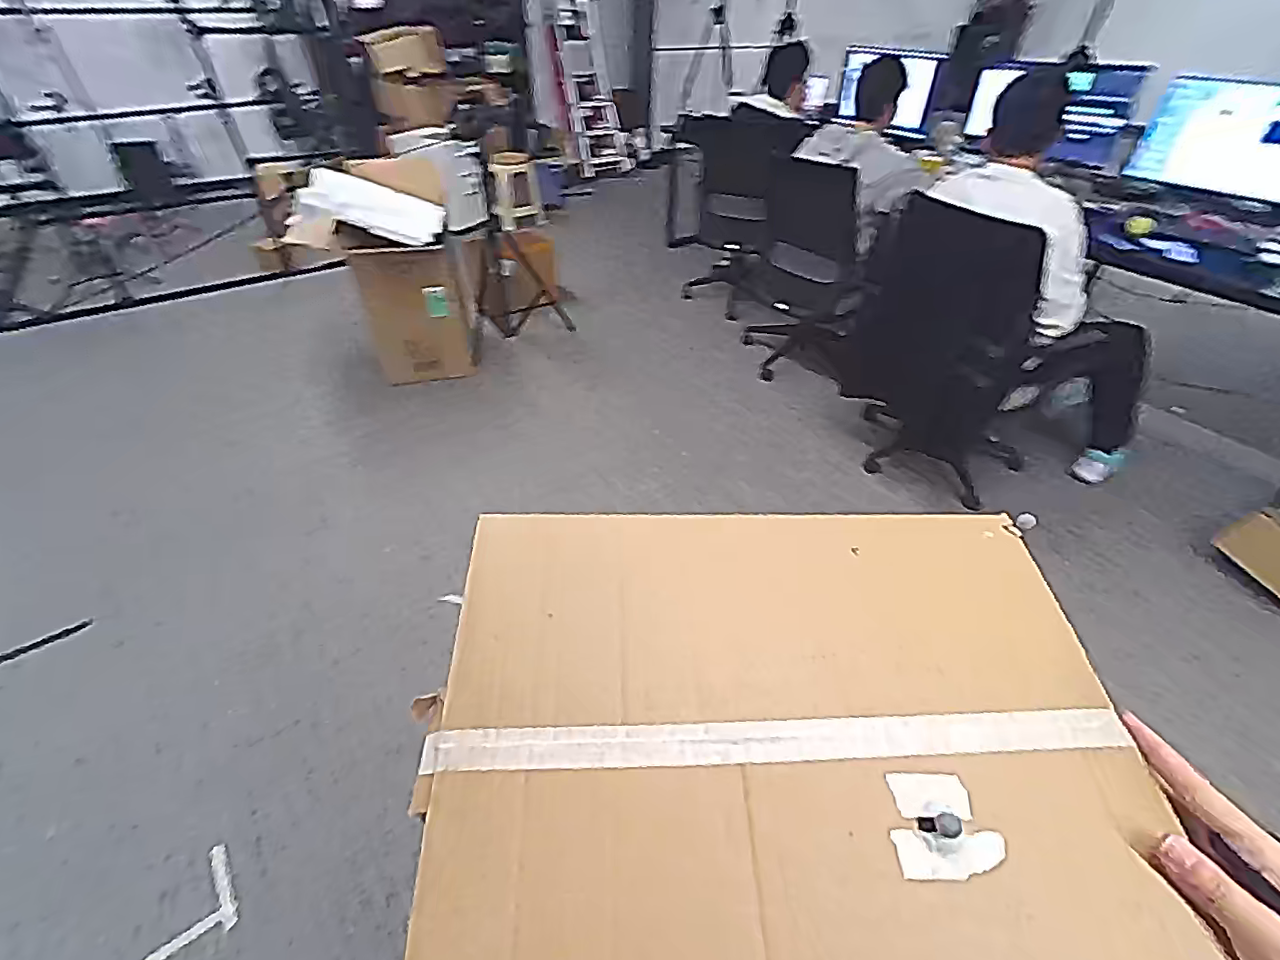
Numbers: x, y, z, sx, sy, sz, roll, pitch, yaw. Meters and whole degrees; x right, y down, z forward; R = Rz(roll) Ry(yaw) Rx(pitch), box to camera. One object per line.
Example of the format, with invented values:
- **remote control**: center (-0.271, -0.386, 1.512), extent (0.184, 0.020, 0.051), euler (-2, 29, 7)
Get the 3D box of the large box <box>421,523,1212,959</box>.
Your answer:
- **large box**: center (0.074, 0.249, 0.441), extent (0.408, 0.320, 0.320), euler (0, 54, -6)
